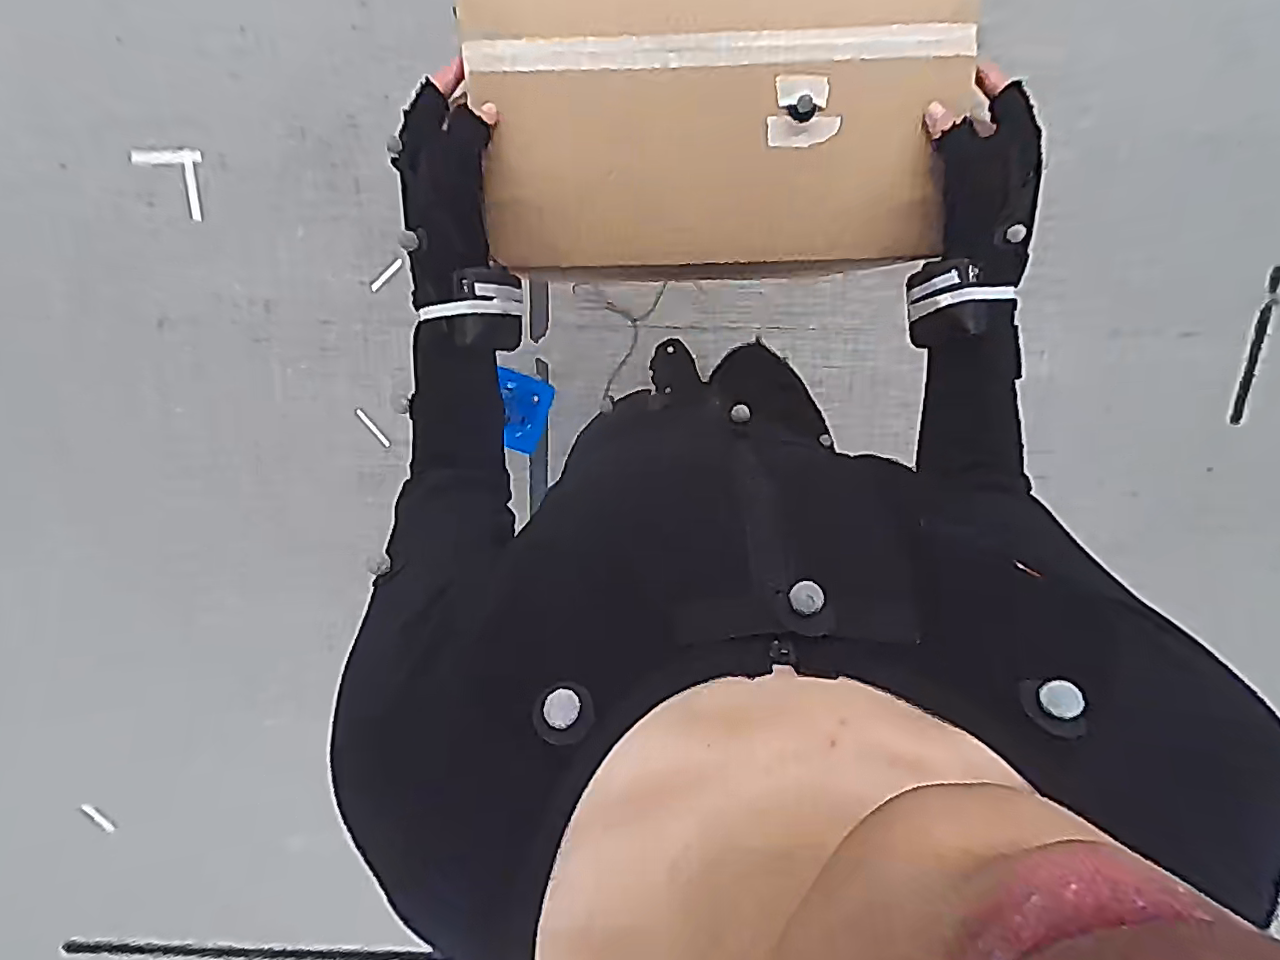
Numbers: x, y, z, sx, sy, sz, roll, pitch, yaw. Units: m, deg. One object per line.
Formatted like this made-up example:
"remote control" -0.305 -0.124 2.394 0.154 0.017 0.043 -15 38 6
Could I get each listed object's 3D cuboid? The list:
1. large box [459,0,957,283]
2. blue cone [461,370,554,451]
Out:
"large box" 0.053 -0.394 0.582 0.408 0.320 0.320 -2 108 0
"blue cone" -0.345 -0.153 1.293 0.193 0.380 0.192 22 102 -3
